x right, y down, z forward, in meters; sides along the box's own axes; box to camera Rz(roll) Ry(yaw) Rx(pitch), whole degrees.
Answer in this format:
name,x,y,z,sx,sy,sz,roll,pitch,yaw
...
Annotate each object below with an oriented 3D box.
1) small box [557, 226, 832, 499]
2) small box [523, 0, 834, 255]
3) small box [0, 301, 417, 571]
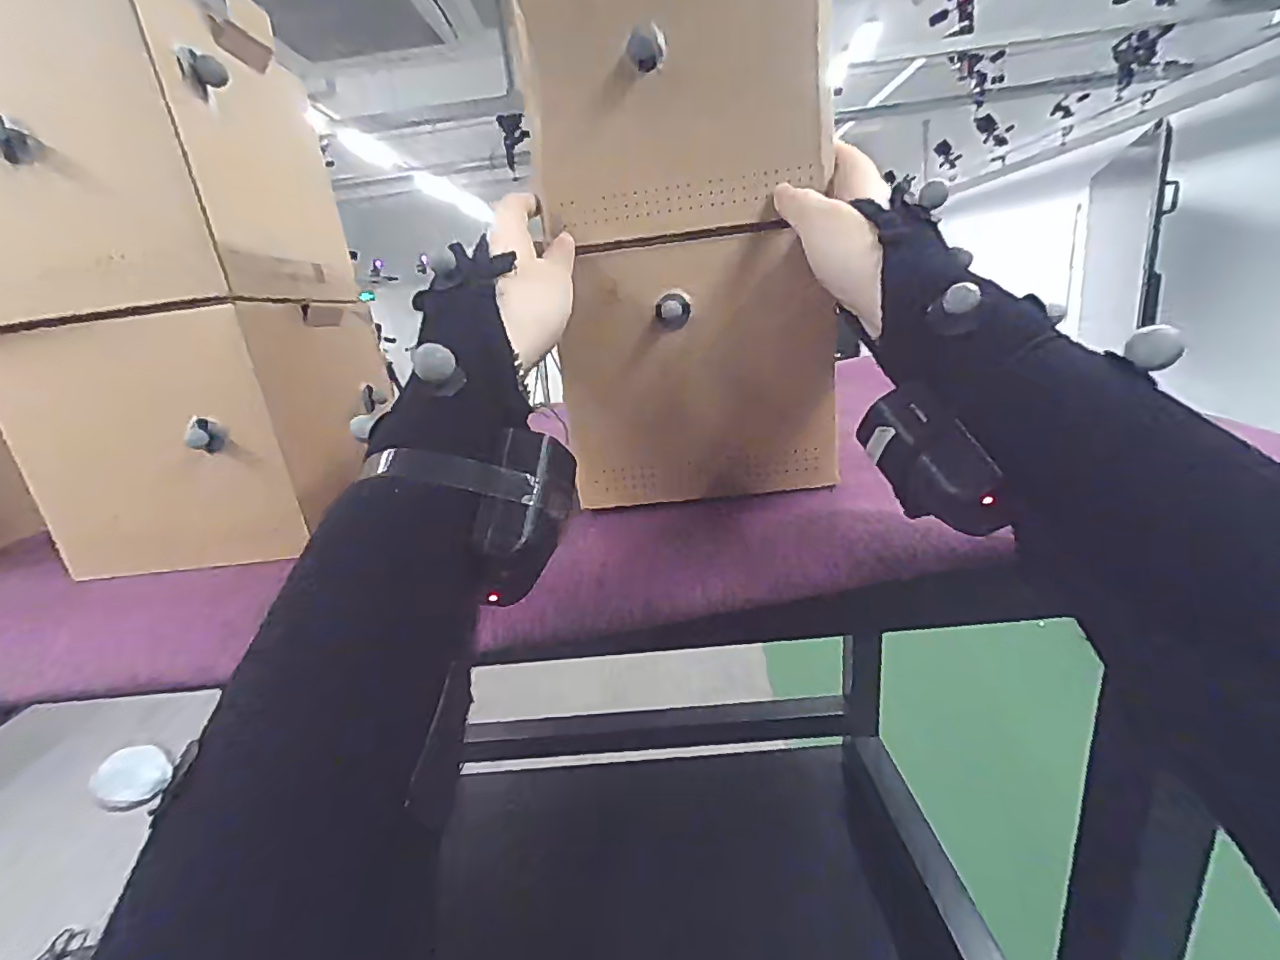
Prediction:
name,x,y,z,sx,sy,sz,roll,pitch,yaw
small box,0.045,-0.086,0.432,0.179,0.176,0.168,-4,14,4
small box,0.030,-0.245,0.393,0.179,0.176,0.168,-6,14,5
small box,-0.302,-0.043,0.426,0.179,0.176,0.168,-7,16,2
